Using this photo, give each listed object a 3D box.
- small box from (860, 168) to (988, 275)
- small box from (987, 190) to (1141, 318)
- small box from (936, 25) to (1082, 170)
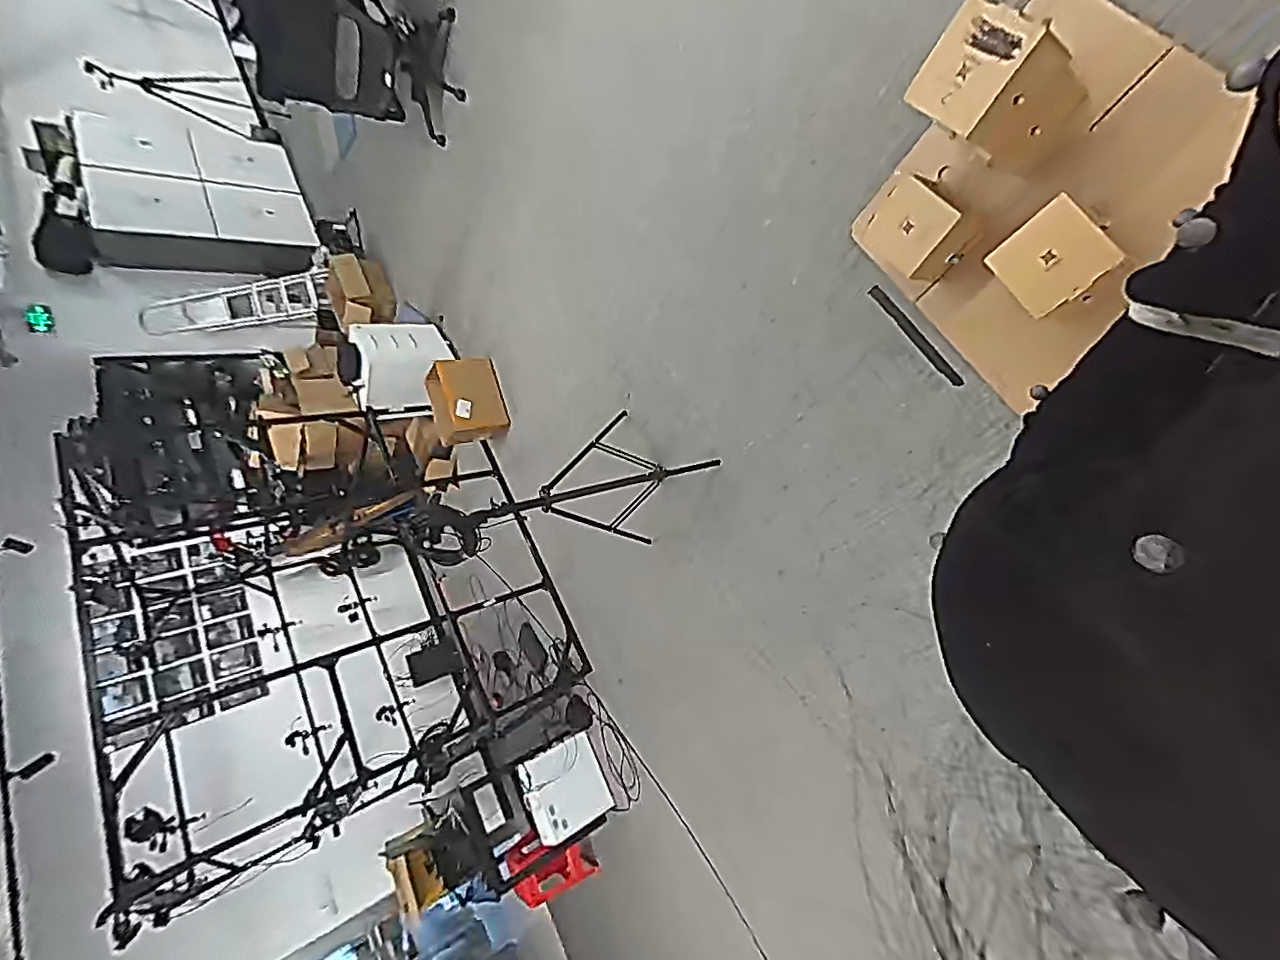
[{"bbox_3d":[0.674,-0.605,1.287,0.179,0.176,0.168,56,139,24],"label":"small box"},{"bbox_3d":[0.861,-0.449,1.101,0.168,0.176,0.179,-47,66,46],"label":"small box"},{"bbox_3d":[0.768,-0.781,1.121,0.168,0.176,0.179,57,138,23],"label":"small box"}]
